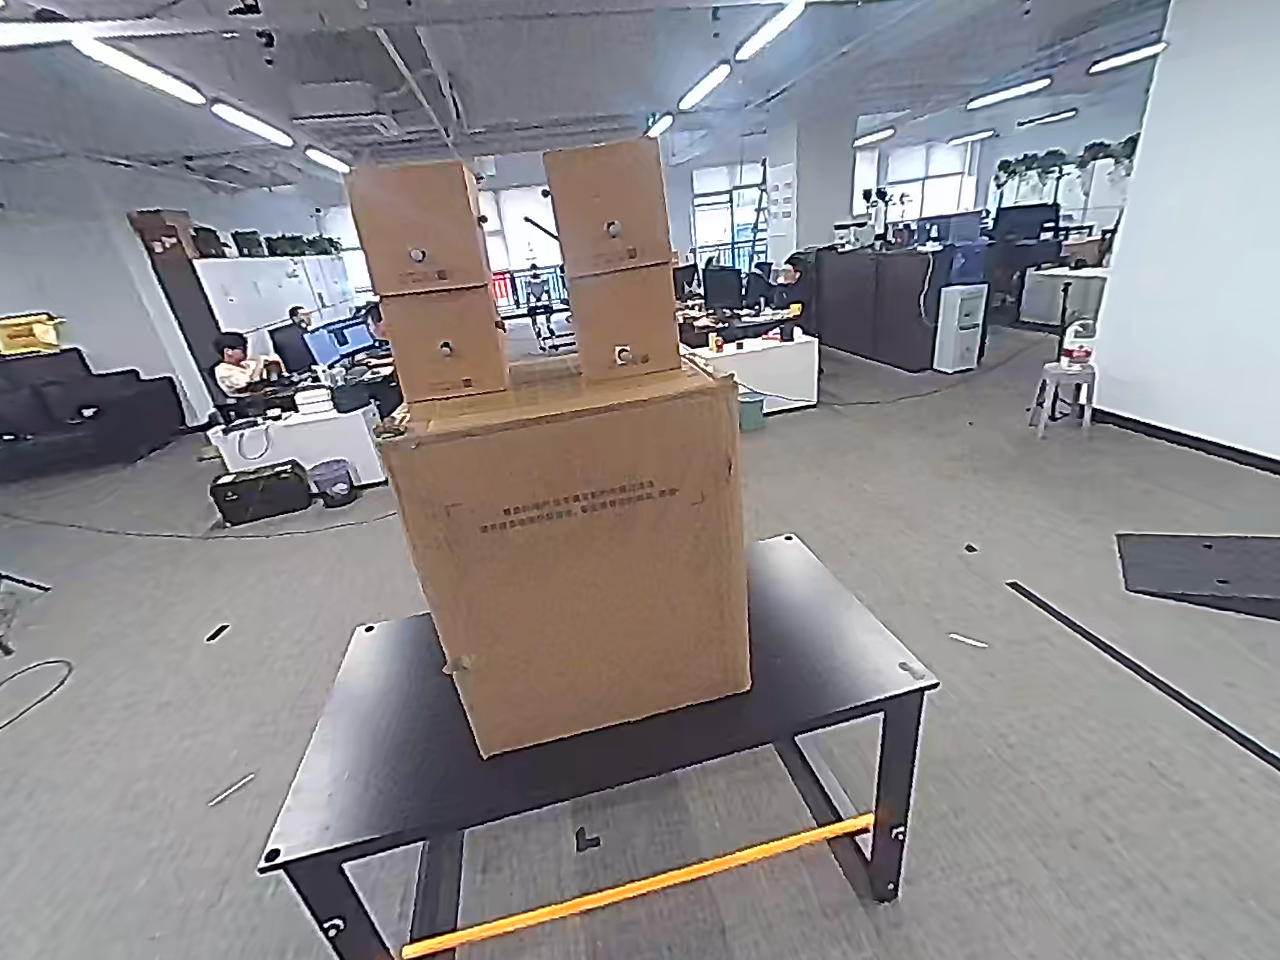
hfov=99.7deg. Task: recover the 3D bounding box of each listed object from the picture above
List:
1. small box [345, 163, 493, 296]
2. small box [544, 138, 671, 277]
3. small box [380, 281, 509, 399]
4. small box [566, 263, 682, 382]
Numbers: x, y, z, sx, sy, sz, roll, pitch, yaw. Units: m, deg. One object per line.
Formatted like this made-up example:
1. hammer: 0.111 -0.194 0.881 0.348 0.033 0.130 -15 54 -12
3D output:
1. small box: -0.332 -0.387 0.852 0.168 0.176 0.179 -9 25 -8
2. small box: -0.051 -0.423 0.860 0.168 0.176 0.179 -11 25 -3
3. small box: -0.323 -0.242 0.934 0.168 0.176 0.179 -9 25 -9
4. small box: -0.030 -0.277 0.935 0.168 0.176 0.179 -12 26 -5
